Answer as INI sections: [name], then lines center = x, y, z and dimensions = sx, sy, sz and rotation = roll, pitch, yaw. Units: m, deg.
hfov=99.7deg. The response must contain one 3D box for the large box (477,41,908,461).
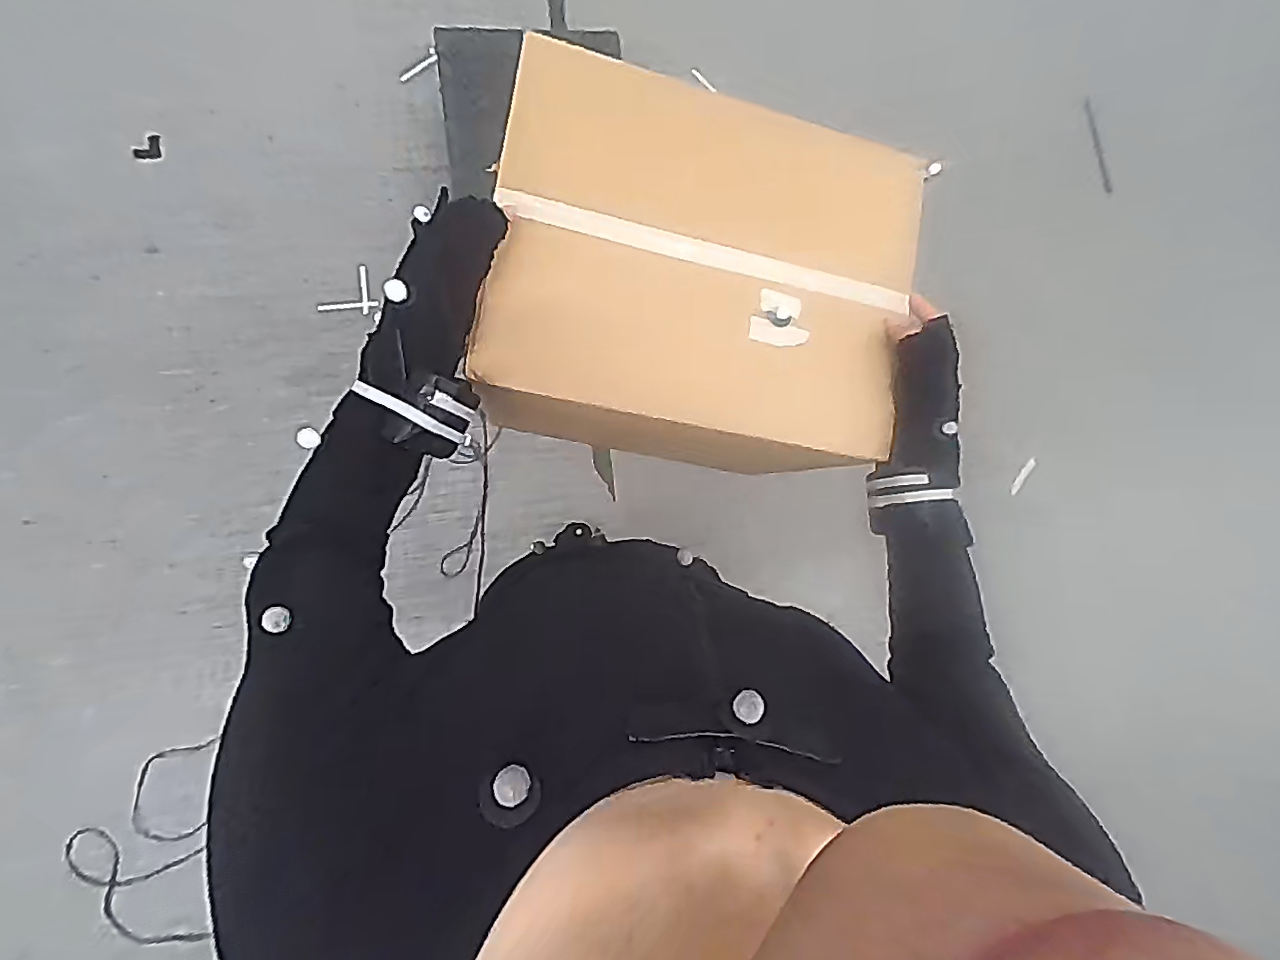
[large box]
center = 0.037, -0.213, 0.659
dimensions = 0.408, 0.320, 0.320
rotation = 9, 87, -12

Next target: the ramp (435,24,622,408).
[ramp]
center = -0.244, -0.716, 1.485
dimensions = 0.509, 0.206, 0.991
rotation = -8, 85, -10
